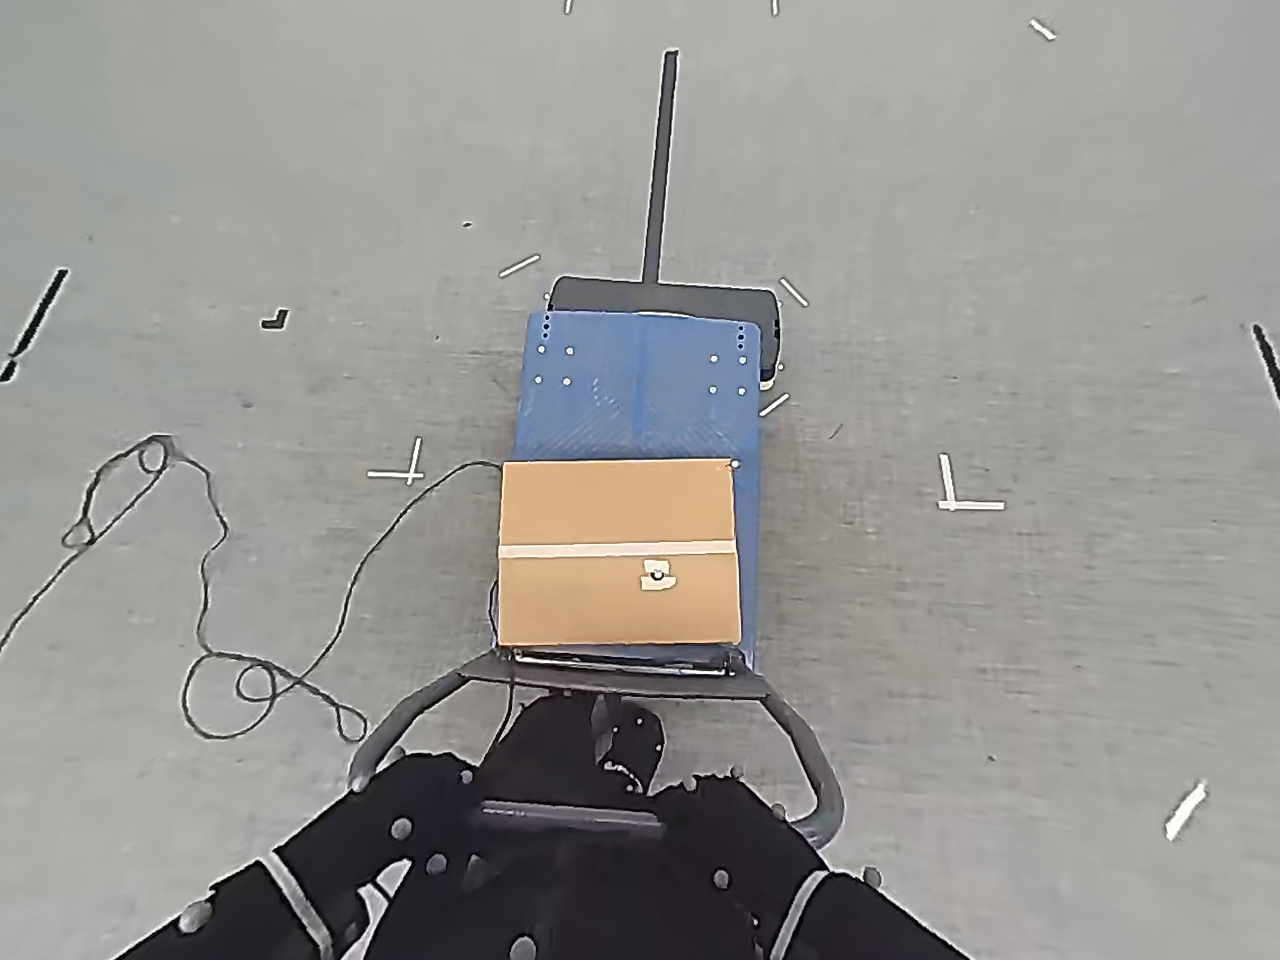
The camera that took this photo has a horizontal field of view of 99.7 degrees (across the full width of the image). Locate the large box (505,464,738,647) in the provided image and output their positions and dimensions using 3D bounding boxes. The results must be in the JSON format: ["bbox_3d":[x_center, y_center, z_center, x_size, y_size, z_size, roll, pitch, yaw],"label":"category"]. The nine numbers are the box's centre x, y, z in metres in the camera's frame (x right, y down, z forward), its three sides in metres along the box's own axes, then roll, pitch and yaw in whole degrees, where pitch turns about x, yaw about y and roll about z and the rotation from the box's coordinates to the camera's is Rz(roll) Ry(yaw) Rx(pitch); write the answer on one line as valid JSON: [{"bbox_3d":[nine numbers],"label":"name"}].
[{"bbox_3d":[-0.038,0.157,1.088,0.408,0.320,0.320,-1,78,-1],"label":"large box"}]
